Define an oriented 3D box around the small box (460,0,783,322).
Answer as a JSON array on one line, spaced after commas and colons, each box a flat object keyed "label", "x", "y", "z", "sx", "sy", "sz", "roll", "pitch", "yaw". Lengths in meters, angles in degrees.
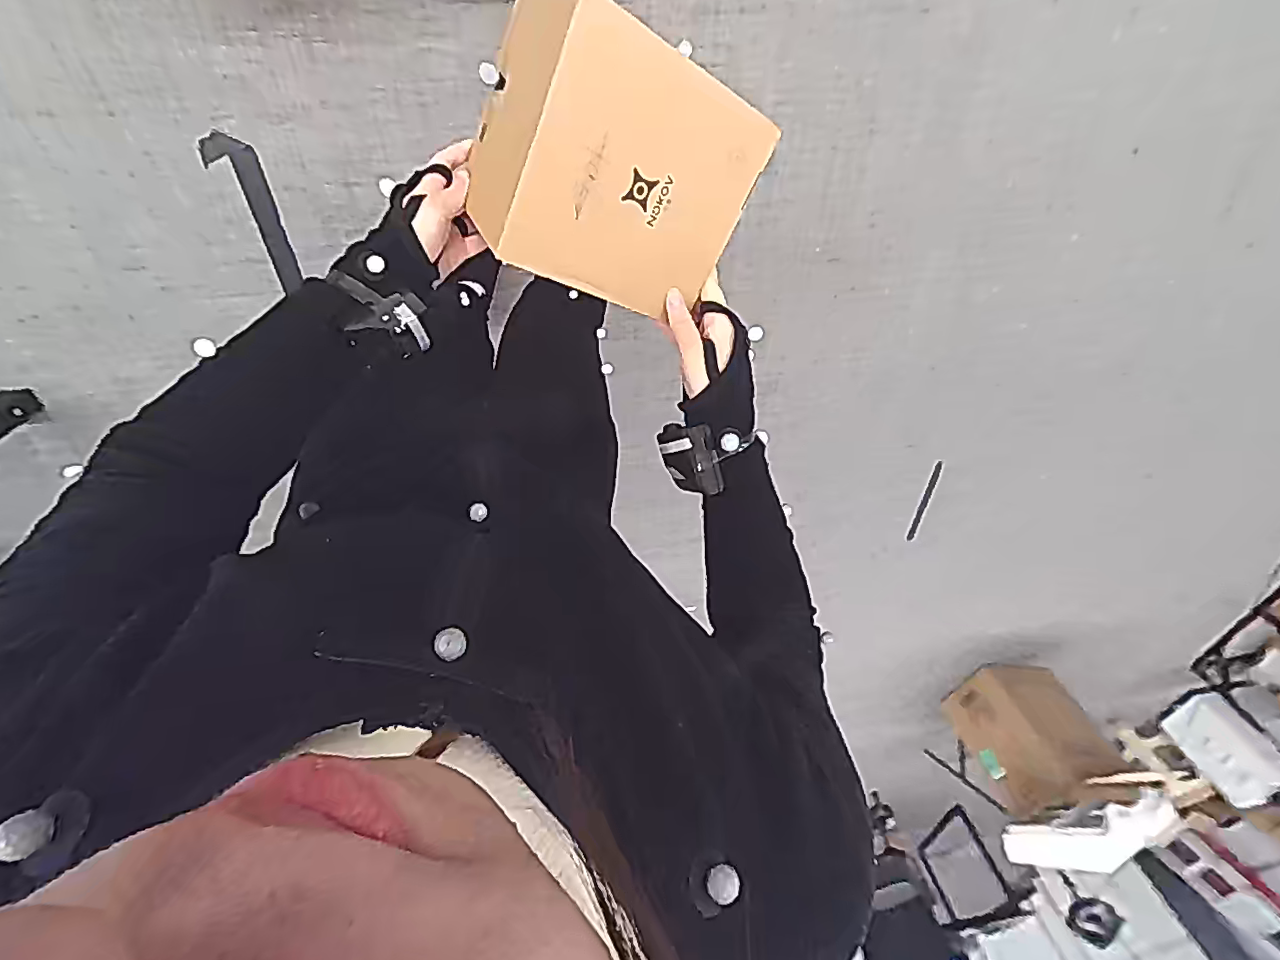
[{"label": "small box", "x": -0.028, "y": -0.260, "z": 0.443, "sx": 0.179, "sy": 0.176, "sz": 0.168, "roll": 9, "pitch": 122, "yaw": -35}]
